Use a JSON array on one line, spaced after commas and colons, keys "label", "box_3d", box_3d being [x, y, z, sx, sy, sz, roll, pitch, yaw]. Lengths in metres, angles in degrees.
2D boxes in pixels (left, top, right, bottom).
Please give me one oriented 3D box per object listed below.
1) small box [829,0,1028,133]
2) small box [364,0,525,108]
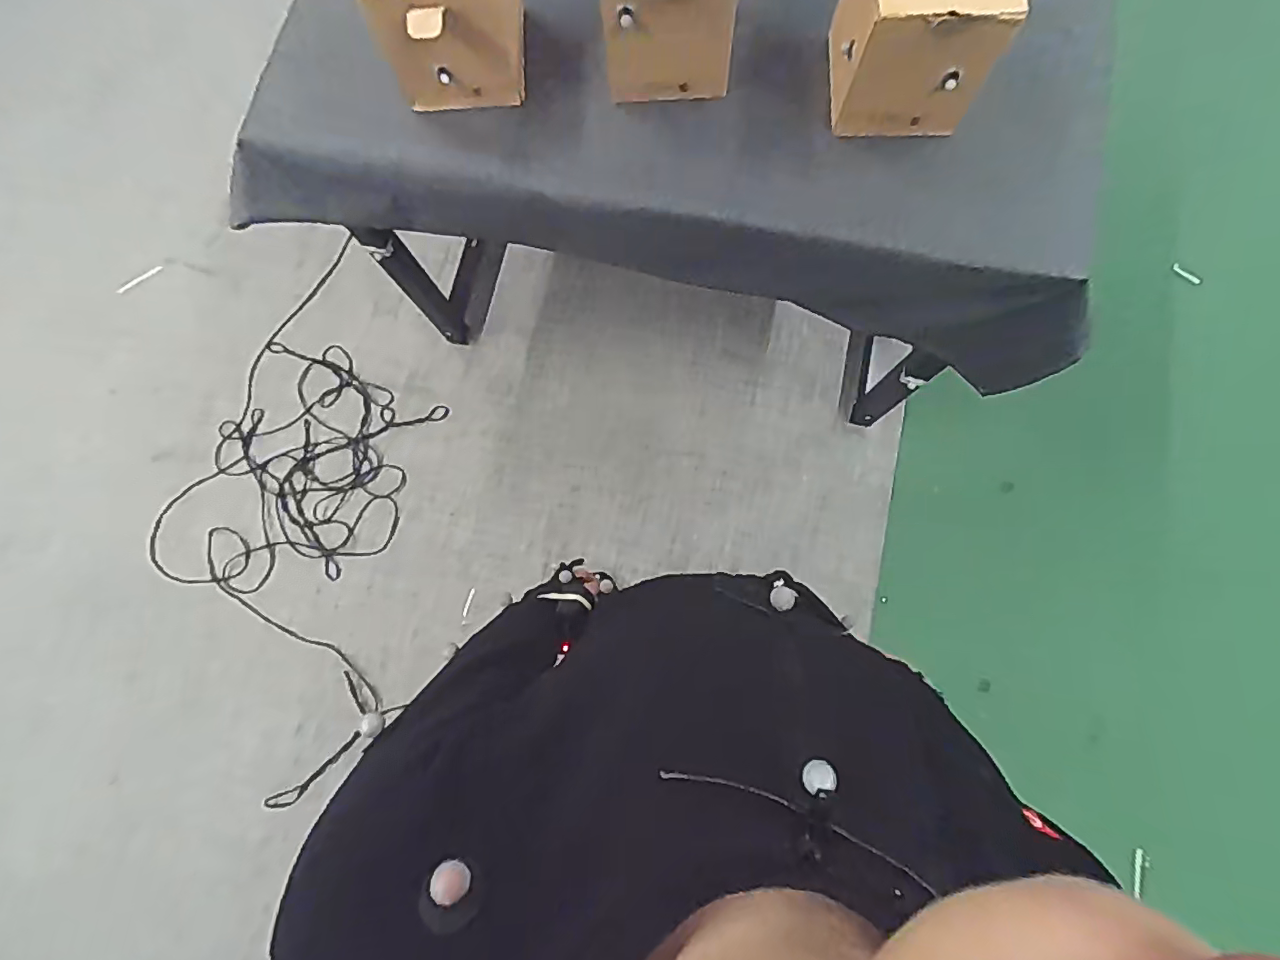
[{"label": "small box", "box_3d": [0.349, -0.578, 0.688, 0.168, 0.176, 0.179, 2, 78, 2]}, {"label": "small box", "box_3d": [-0.256, -0.644, 0.725, 0.168, 0.176, 0.179, -3, 79, 1]}]
